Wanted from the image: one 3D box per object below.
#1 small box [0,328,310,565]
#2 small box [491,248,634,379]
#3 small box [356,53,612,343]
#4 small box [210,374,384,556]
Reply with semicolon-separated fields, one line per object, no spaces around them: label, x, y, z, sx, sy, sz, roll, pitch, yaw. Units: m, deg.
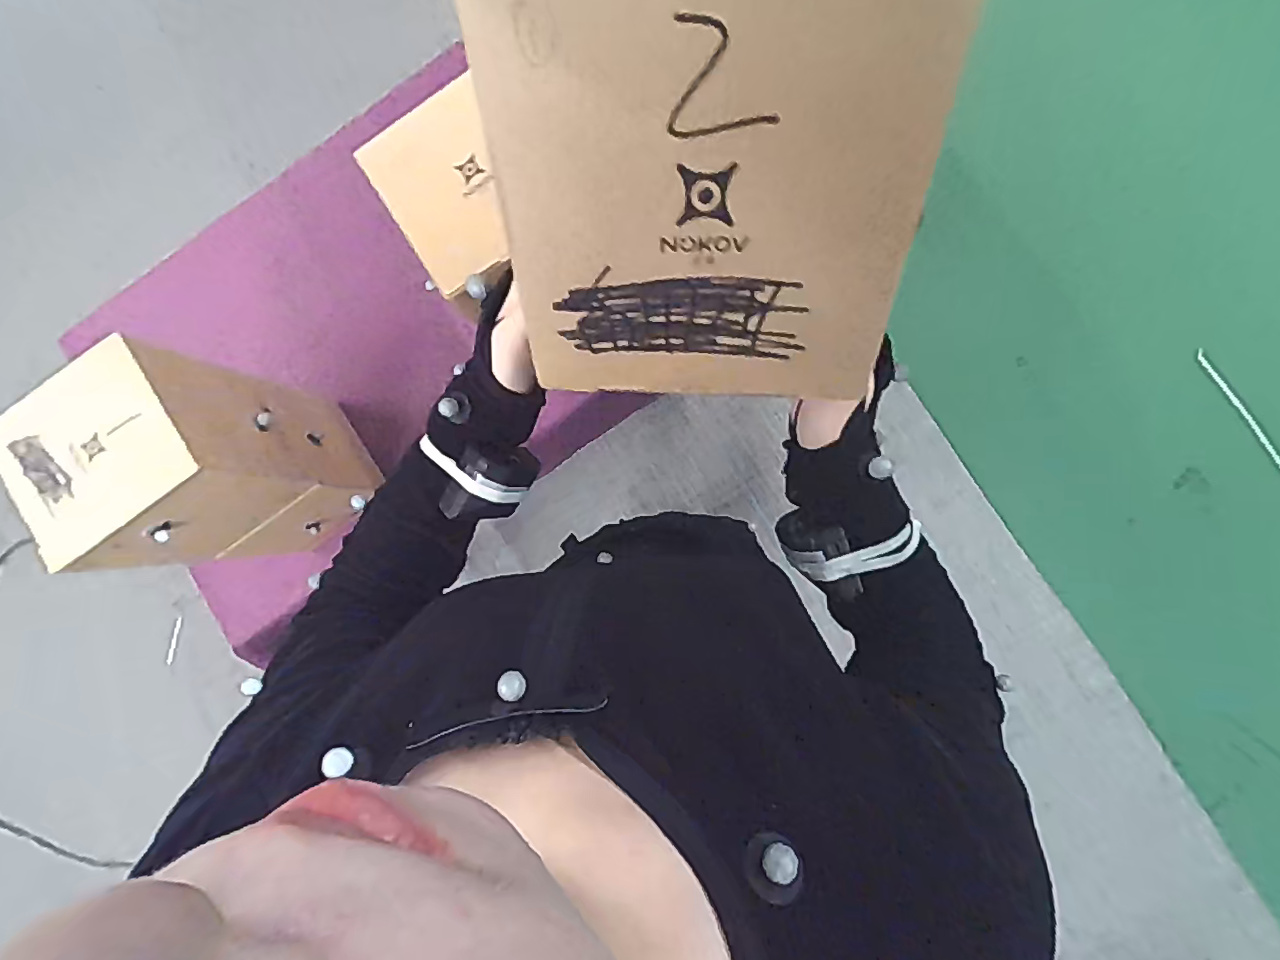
small box;-0.515;-0.026;0.589;0.179;0.176;0.168;-35;84;1
small box;-0.126;-0.262;0.735;0.179;0.176;0.168;-36;84;3
small box;-0.148;-0.277;0.574;0.168;0.176;0.179;-34;84;2
small box;-0.499;-0.016;0.753;0.168;0.176;0.179;-35;84;1
